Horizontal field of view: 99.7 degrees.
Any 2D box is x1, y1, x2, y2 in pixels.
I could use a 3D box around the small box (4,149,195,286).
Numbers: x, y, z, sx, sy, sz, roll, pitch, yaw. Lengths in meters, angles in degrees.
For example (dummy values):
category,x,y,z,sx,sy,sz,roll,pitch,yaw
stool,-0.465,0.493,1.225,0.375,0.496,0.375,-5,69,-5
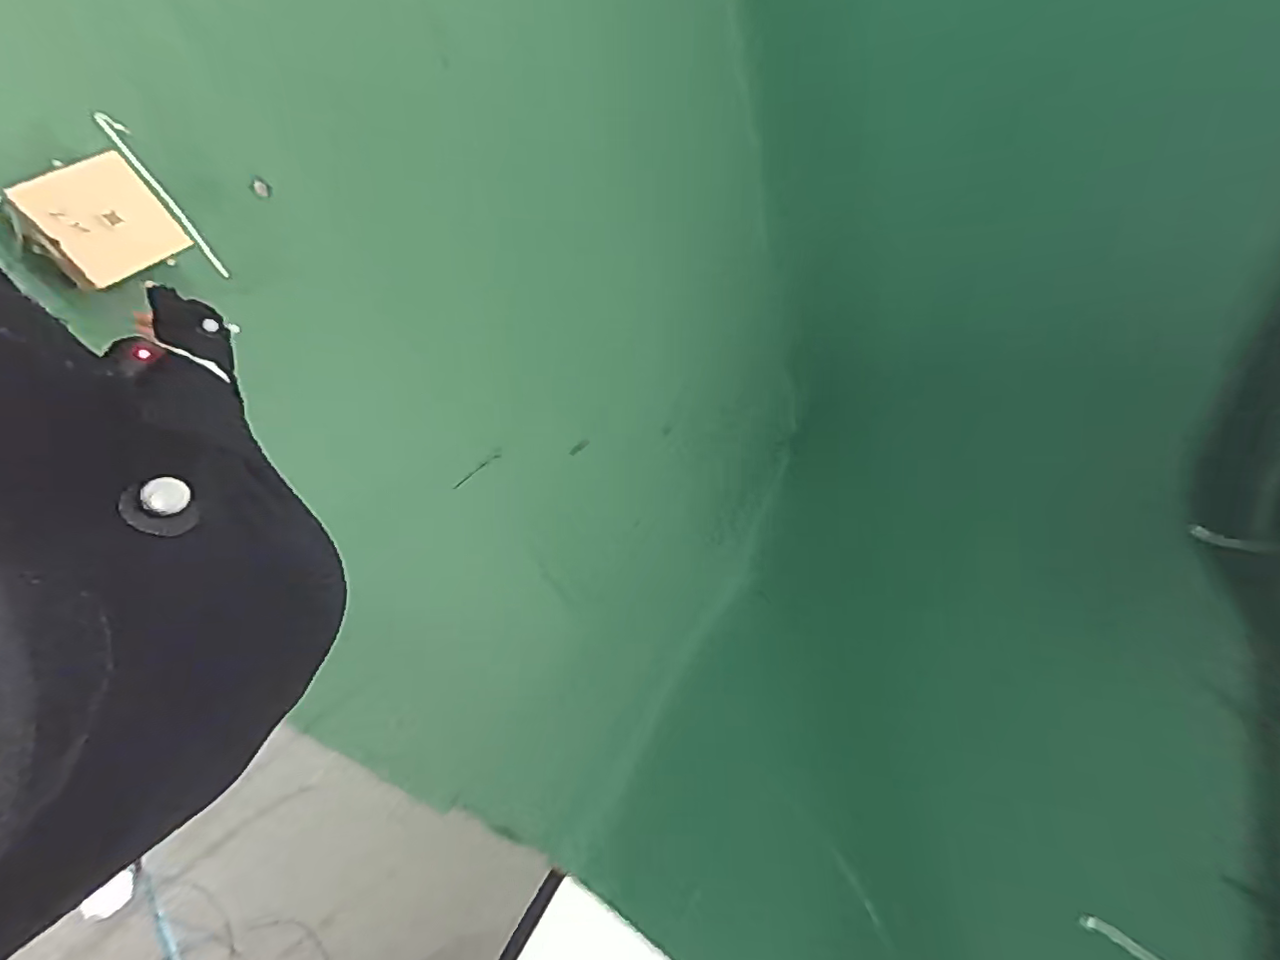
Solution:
category,x,y,z,sx,sy,sz,roll,pitch,yaw
small box,-0.971,-0.468,0.973,0.179,0.176,0.168,-51,137,-30
